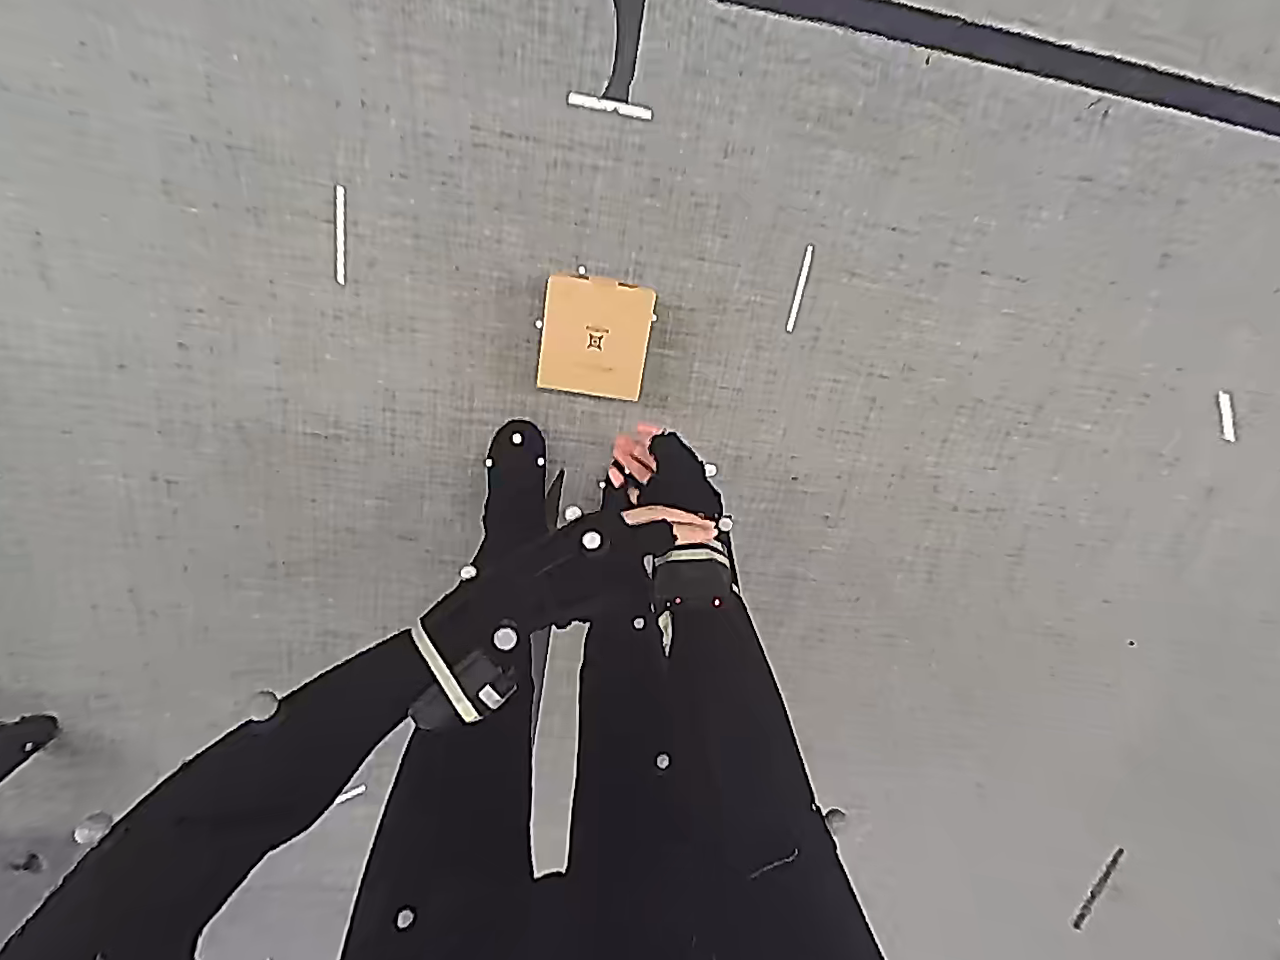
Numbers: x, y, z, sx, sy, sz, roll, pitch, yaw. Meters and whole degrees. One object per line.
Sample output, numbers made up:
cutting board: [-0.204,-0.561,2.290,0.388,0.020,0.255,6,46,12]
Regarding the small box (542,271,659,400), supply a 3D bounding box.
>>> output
small box: [-0.070,-0.248,0.918,0.168,0.176,0.179,8,110,-7]
